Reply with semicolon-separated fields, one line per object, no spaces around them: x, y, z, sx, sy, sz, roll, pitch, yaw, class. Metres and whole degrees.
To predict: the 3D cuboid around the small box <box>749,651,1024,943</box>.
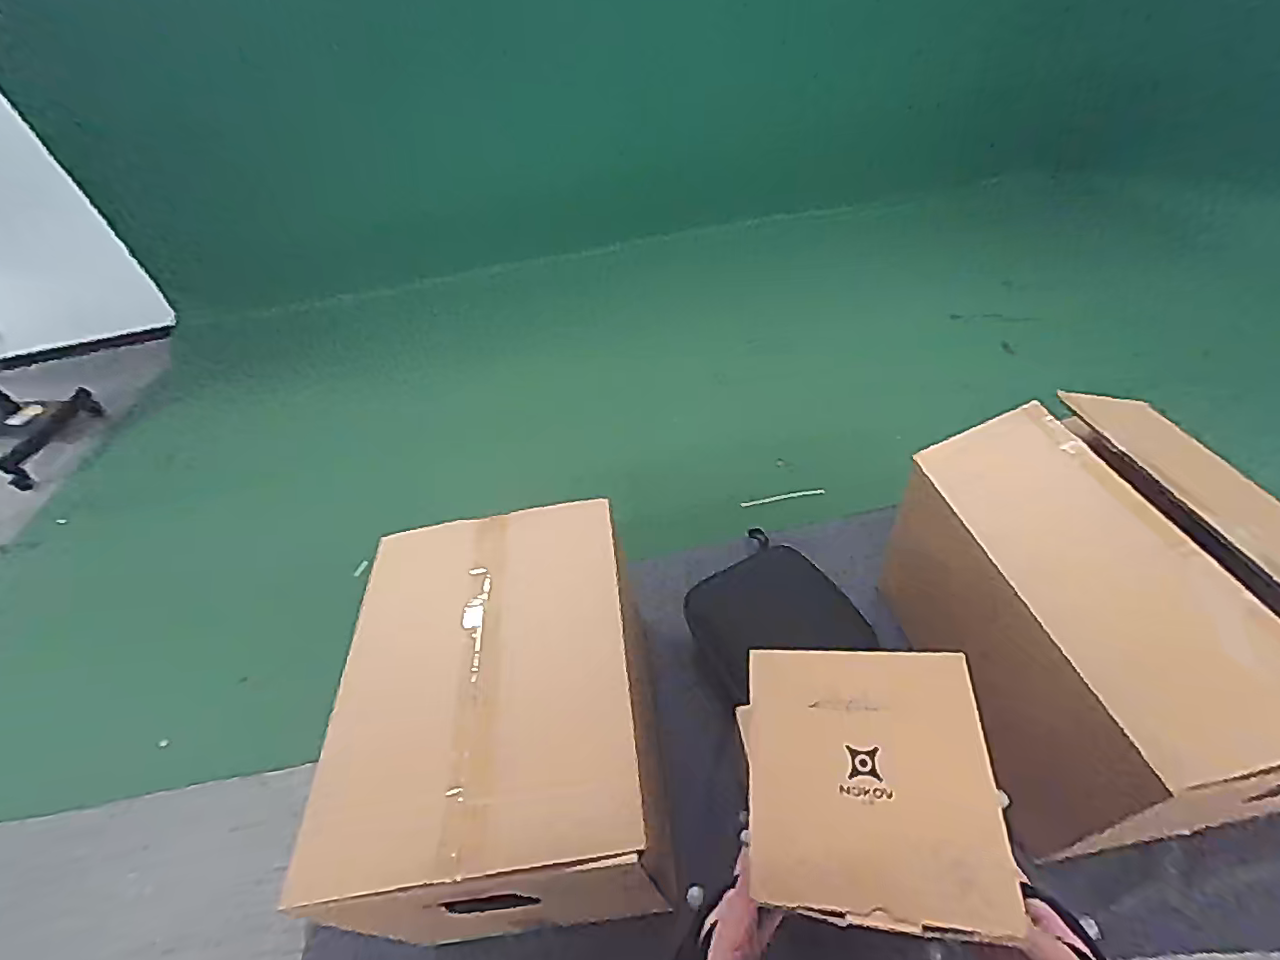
0.184;0.260;0.453;0.168;0.176;0.179;-4;50;16;small box
